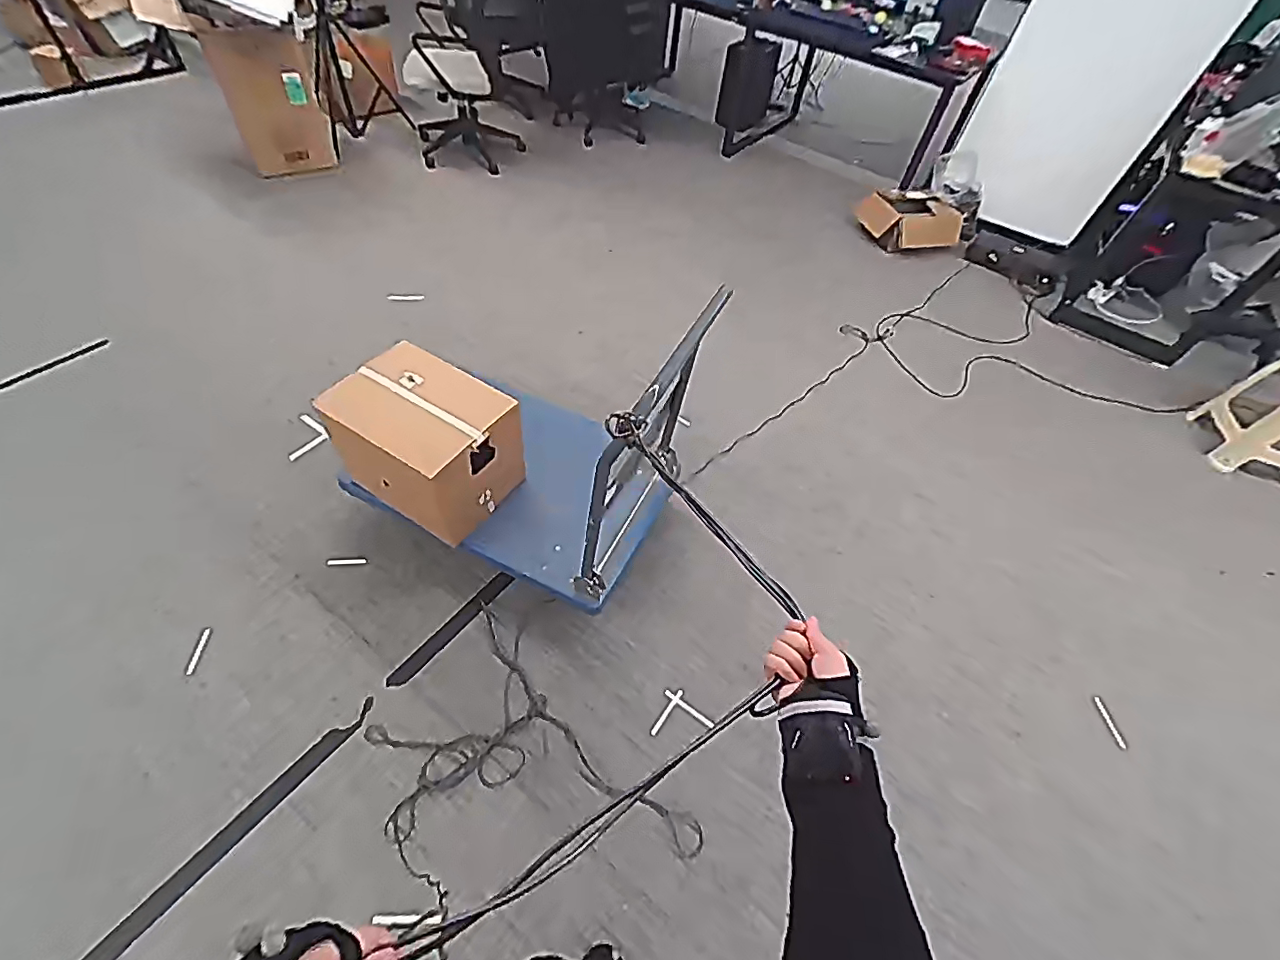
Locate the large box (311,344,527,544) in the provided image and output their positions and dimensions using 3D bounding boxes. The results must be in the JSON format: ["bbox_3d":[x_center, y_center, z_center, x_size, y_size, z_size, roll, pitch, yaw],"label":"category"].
[{"bbox_3d":[-0.567,-0.097,1.465,0.408,0.320,0.320,28,54,15],"label":"large box"}]
